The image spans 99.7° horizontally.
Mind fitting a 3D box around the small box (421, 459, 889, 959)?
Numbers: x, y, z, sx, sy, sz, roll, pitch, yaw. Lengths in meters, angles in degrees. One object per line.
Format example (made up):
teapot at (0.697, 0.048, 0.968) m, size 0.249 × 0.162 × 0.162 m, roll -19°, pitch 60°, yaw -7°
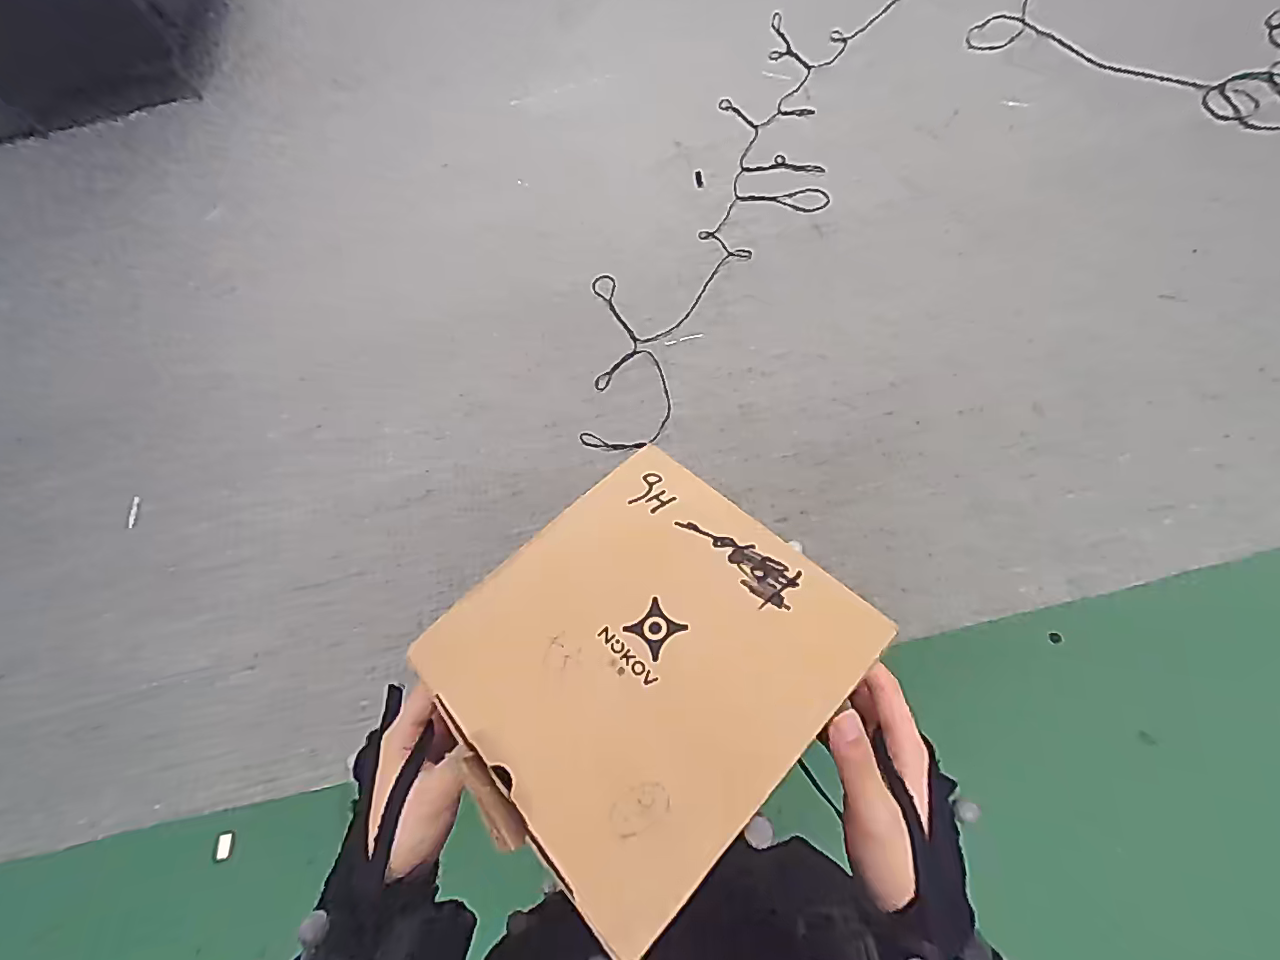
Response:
small box at (0.013, 0.128, 0.329) m, size 0.179 × 0.176 × 0.168 m, roll -42°, pitch 61°, yaw -18°
